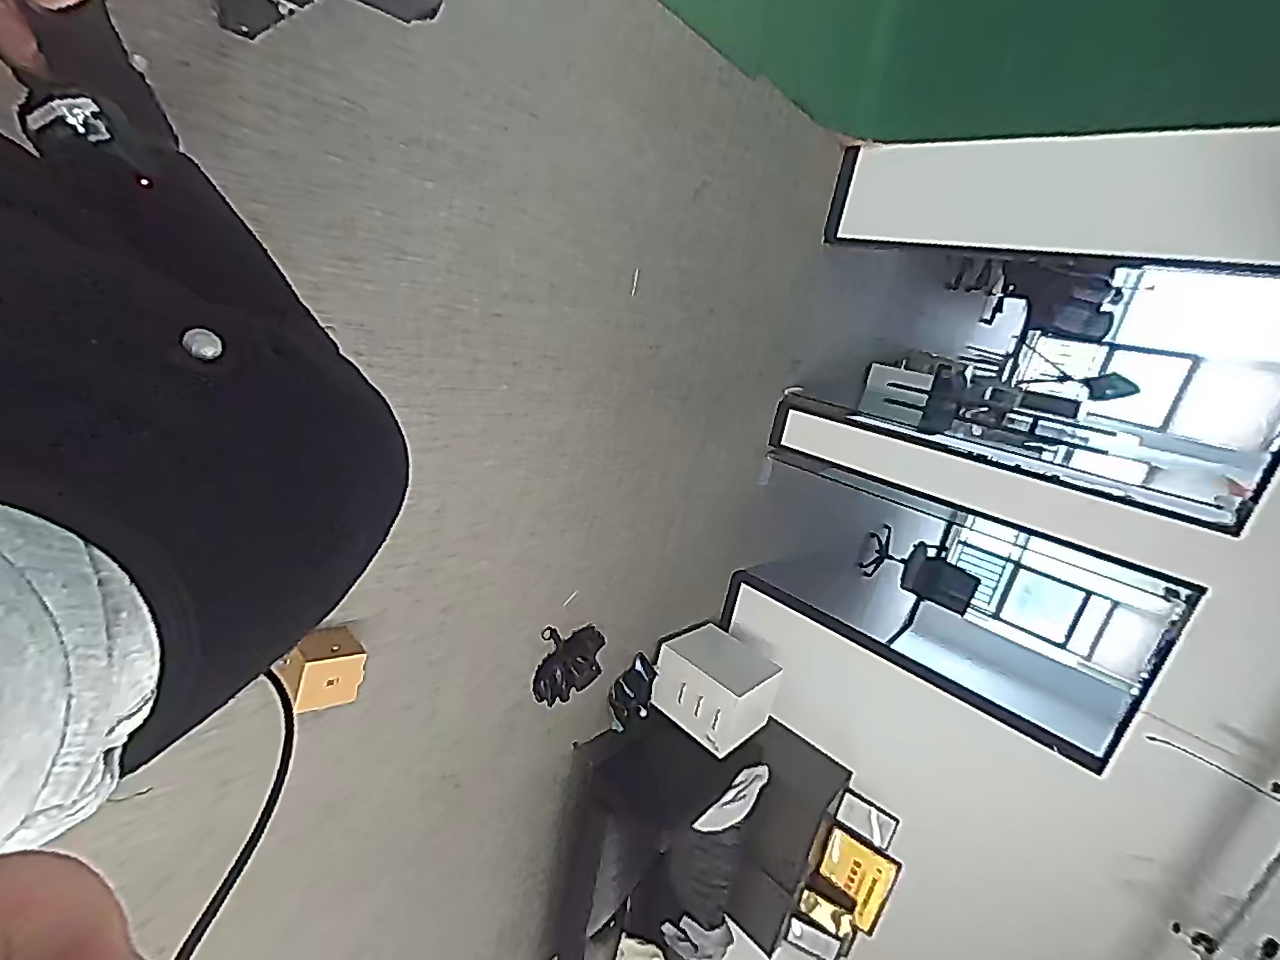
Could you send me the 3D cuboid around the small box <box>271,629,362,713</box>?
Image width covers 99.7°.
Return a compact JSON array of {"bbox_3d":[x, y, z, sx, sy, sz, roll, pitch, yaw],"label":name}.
[{"bbox_3d":[-0.985,0.571,1.645,0.179,0.176,0.168,7,102,-51],"label":"small box"}]
